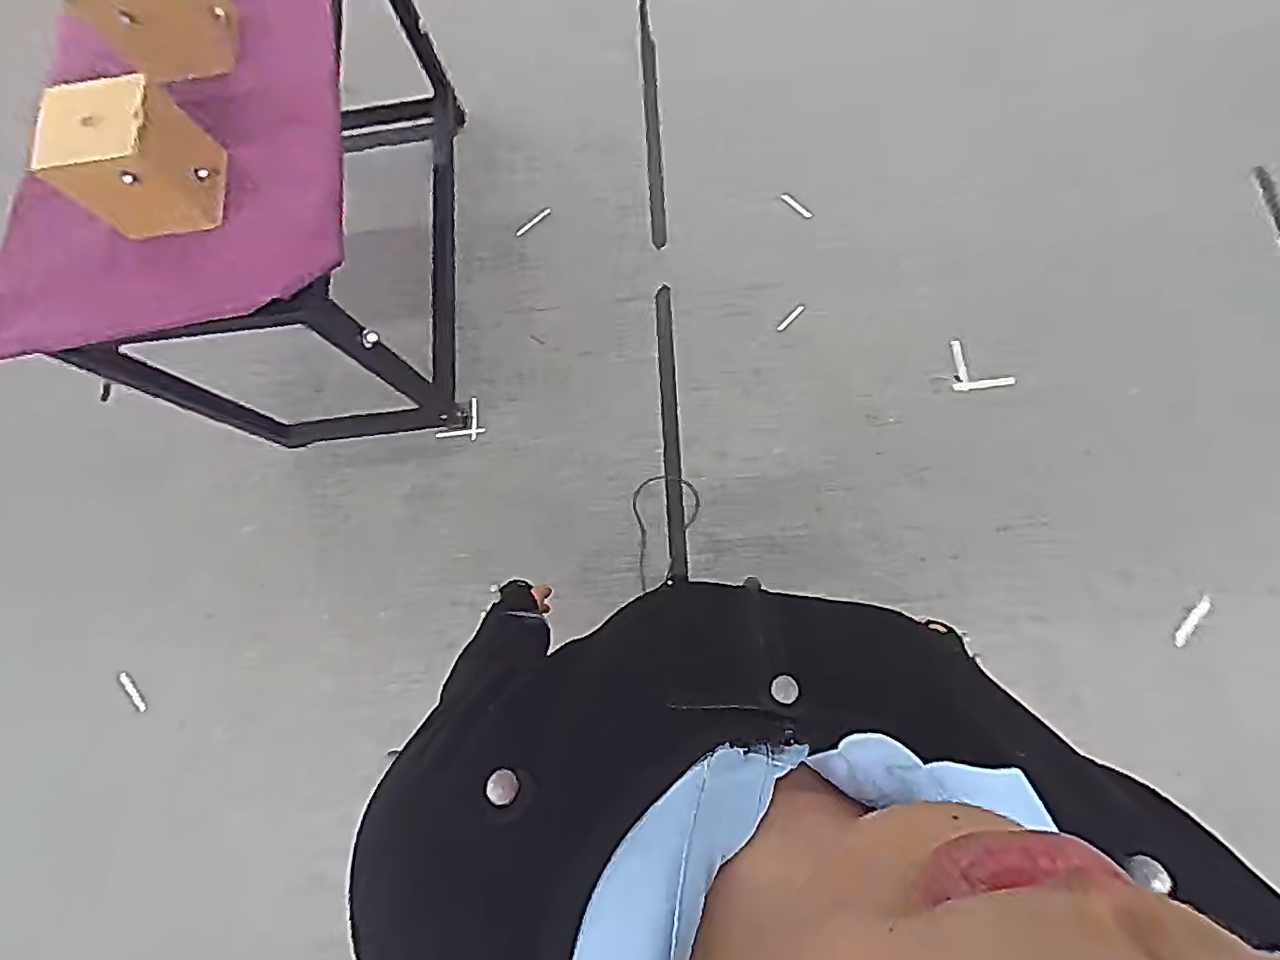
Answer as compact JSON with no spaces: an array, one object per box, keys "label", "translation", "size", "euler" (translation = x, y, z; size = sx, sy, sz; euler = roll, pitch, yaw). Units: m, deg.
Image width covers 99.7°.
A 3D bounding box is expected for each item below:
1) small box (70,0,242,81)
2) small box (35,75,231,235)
[{"label":"small box","translation":[-0.903,-0.898,1.020],"size":[0.179,0.176,0.168],"euler":[-6,78,3]},{"label":"small box","translation":[-0.869,-0.554,0.944],"size":[0.179,0.176,0.168],"euler":[-7,76,2]}]
